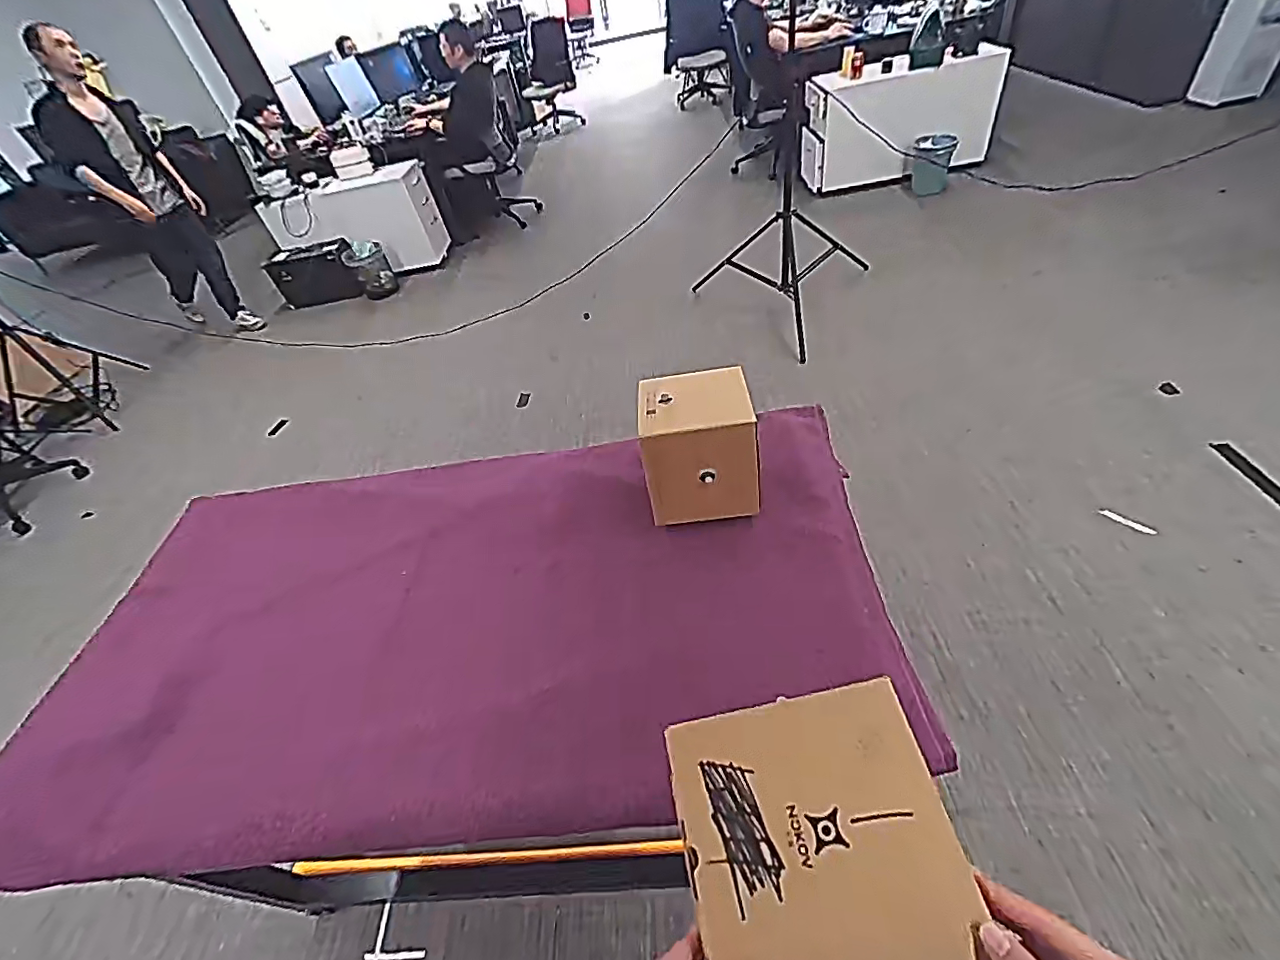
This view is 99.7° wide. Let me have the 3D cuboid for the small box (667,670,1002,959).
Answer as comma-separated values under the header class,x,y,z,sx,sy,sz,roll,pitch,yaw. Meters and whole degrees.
class,x,y,z,sx,sy,sz,roll,pitch,yaw
small box,0.134,0.270,0.430,0.179,0.176,0.168,-16,57,5
